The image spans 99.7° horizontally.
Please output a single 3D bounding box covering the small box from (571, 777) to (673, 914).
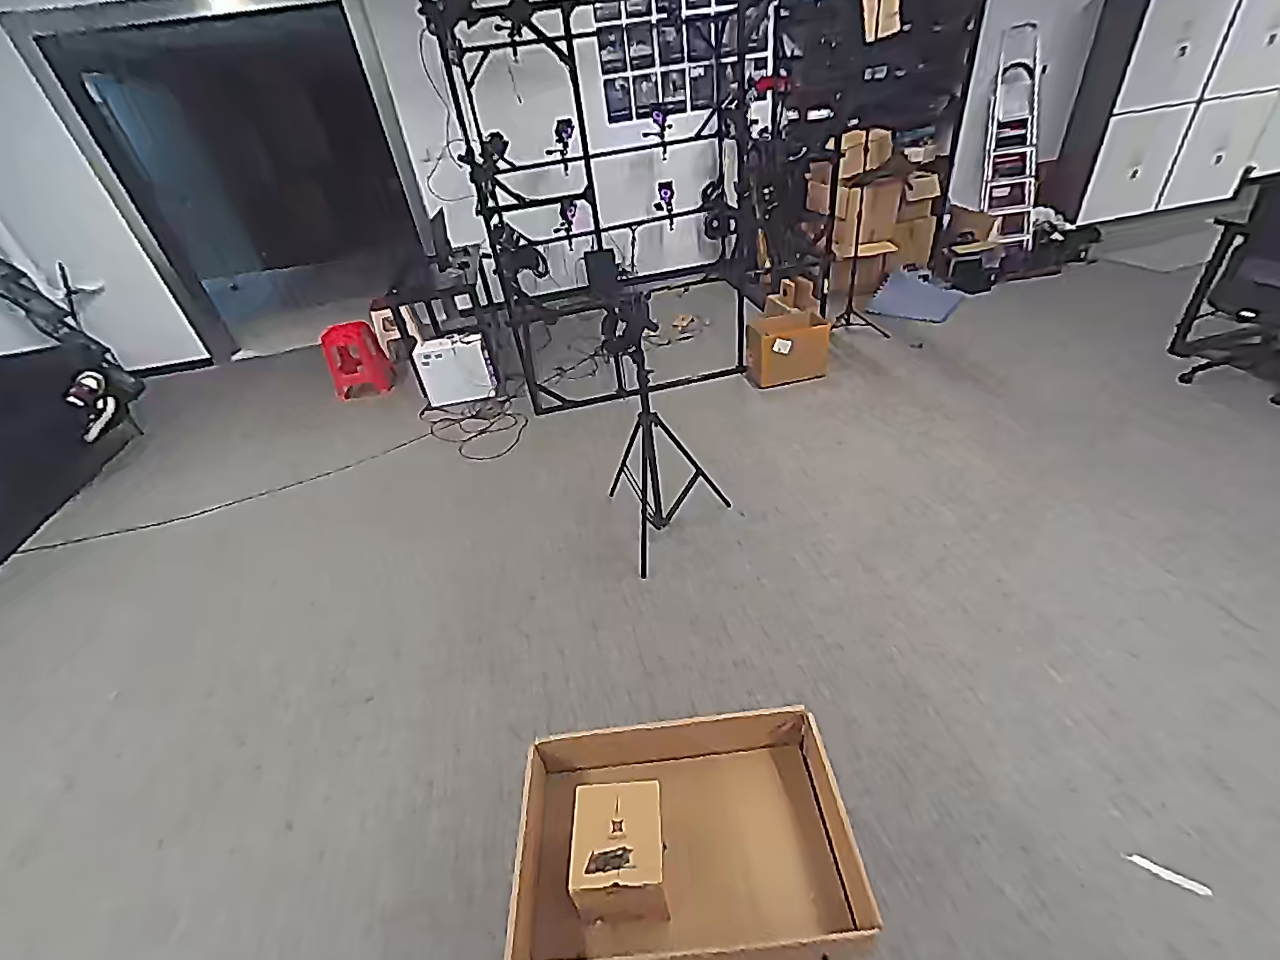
[{"bbox_3d":[-0.028,0.701,1.033,0.168,0.176,0.179,-6,35,4],"label":"small box"}]
